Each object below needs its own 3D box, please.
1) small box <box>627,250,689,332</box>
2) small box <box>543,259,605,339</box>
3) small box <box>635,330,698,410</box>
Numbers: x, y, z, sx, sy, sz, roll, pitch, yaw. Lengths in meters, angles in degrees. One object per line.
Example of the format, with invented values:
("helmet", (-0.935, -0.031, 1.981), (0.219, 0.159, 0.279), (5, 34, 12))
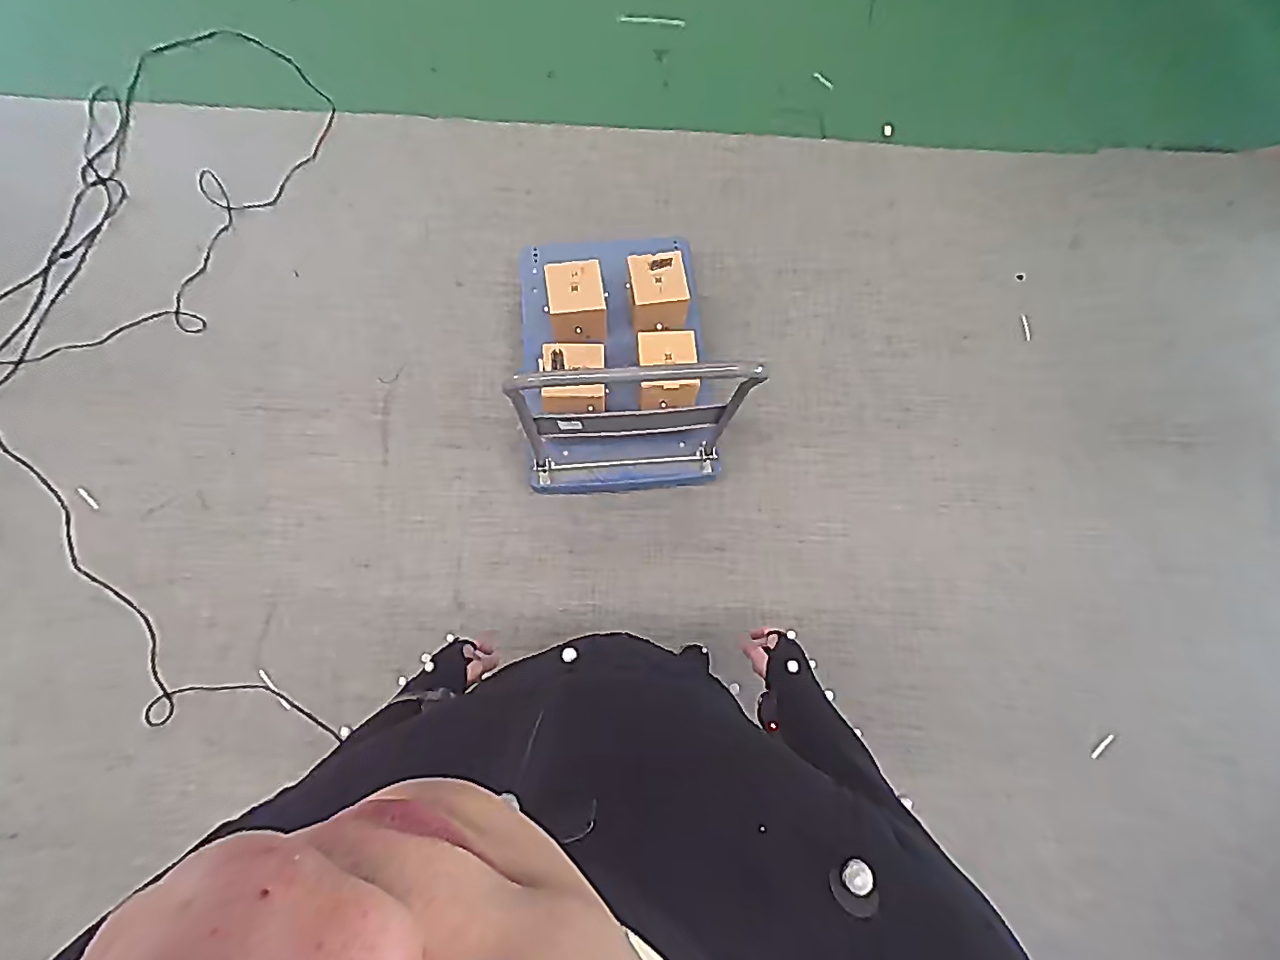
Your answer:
("small box", (0.049, -0.582, 1.683), (0.168, 0.176, 0.179), (-8, 75, -4))
("small box", (-0.200, -0.547, 1.661), (0.168, 0.176, 0.179), (-7, 74, -6))
("small box", (0.073, -0.324, 1.608), (0.168, 0.176, 0.179), (-3, 74, -4))
